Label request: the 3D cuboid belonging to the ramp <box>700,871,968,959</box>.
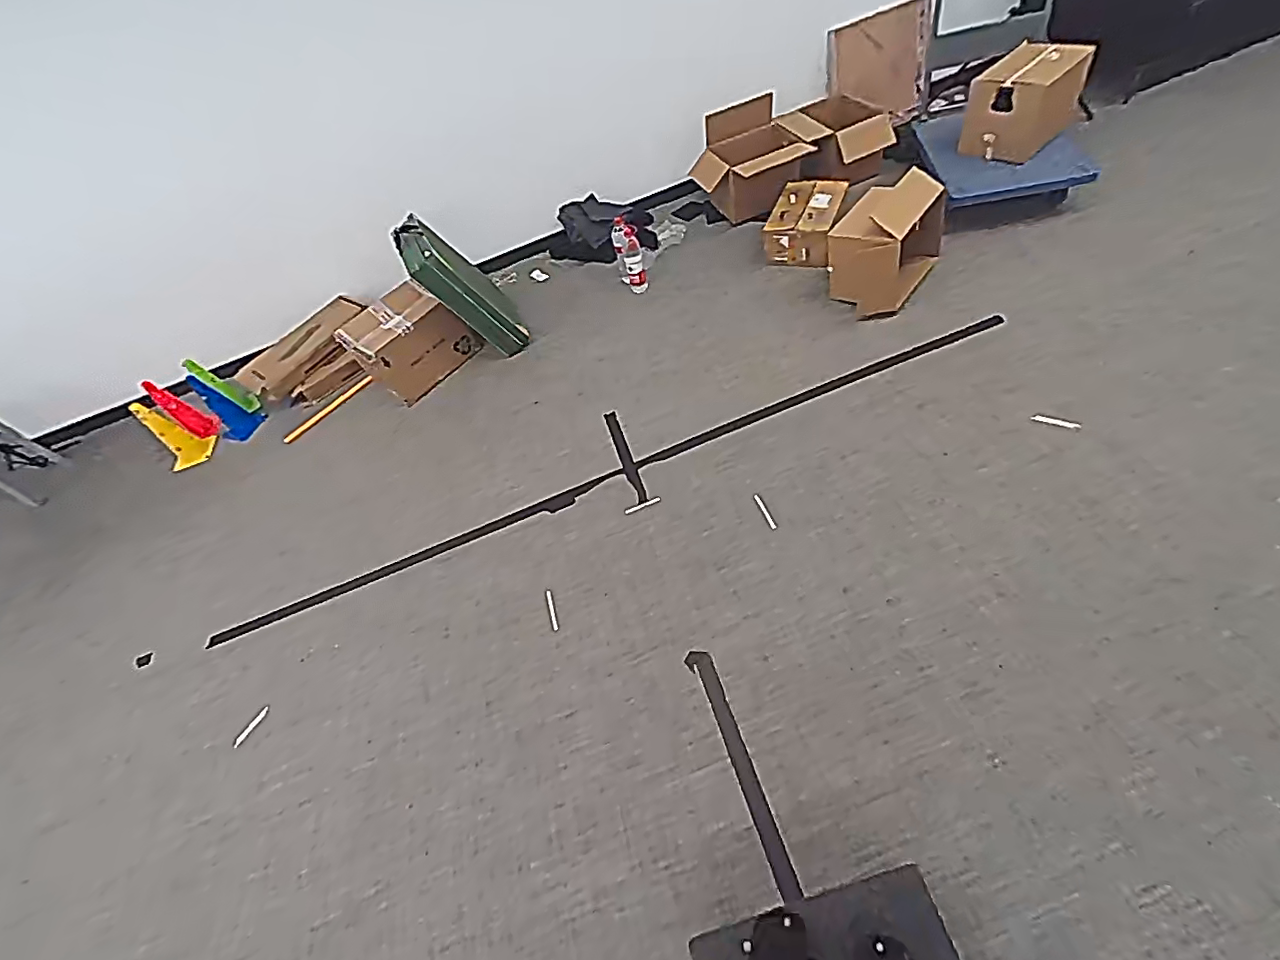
[{"bbox_3d":[0.499,1.267,0.837,0.509,0.206,0.991,-22,50,-2],"label":"ramp"}]
